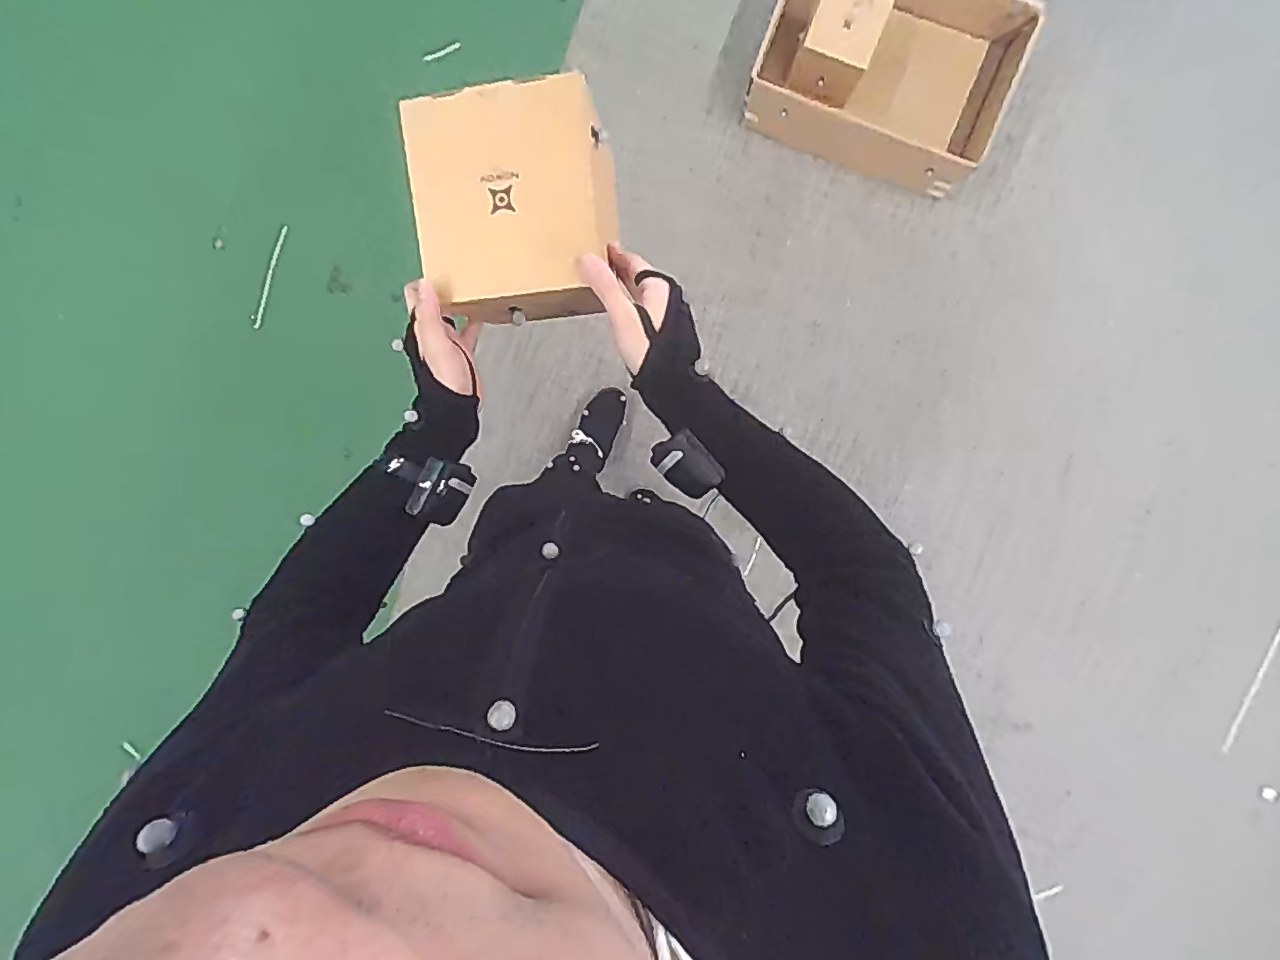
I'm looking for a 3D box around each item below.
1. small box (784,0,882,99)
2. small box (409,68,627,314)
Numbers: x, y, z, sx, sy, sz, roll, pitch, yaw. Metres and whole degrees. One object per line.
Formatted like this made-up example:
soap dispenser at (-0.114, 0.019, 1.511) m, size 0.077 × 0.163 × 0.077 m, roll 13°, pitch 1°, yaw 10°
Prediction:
small box at (0.482, -1.121, 1.373) m, size 0.168 × 0.176 × 0.179 m, roll 20°, pitch 96°, yaw -1°
small box at (-0.110, -0.275, 0.562) m, size 0.168 × 0.176 × 0.179 m, roll -5°, pitch 98°, yaw 6°
